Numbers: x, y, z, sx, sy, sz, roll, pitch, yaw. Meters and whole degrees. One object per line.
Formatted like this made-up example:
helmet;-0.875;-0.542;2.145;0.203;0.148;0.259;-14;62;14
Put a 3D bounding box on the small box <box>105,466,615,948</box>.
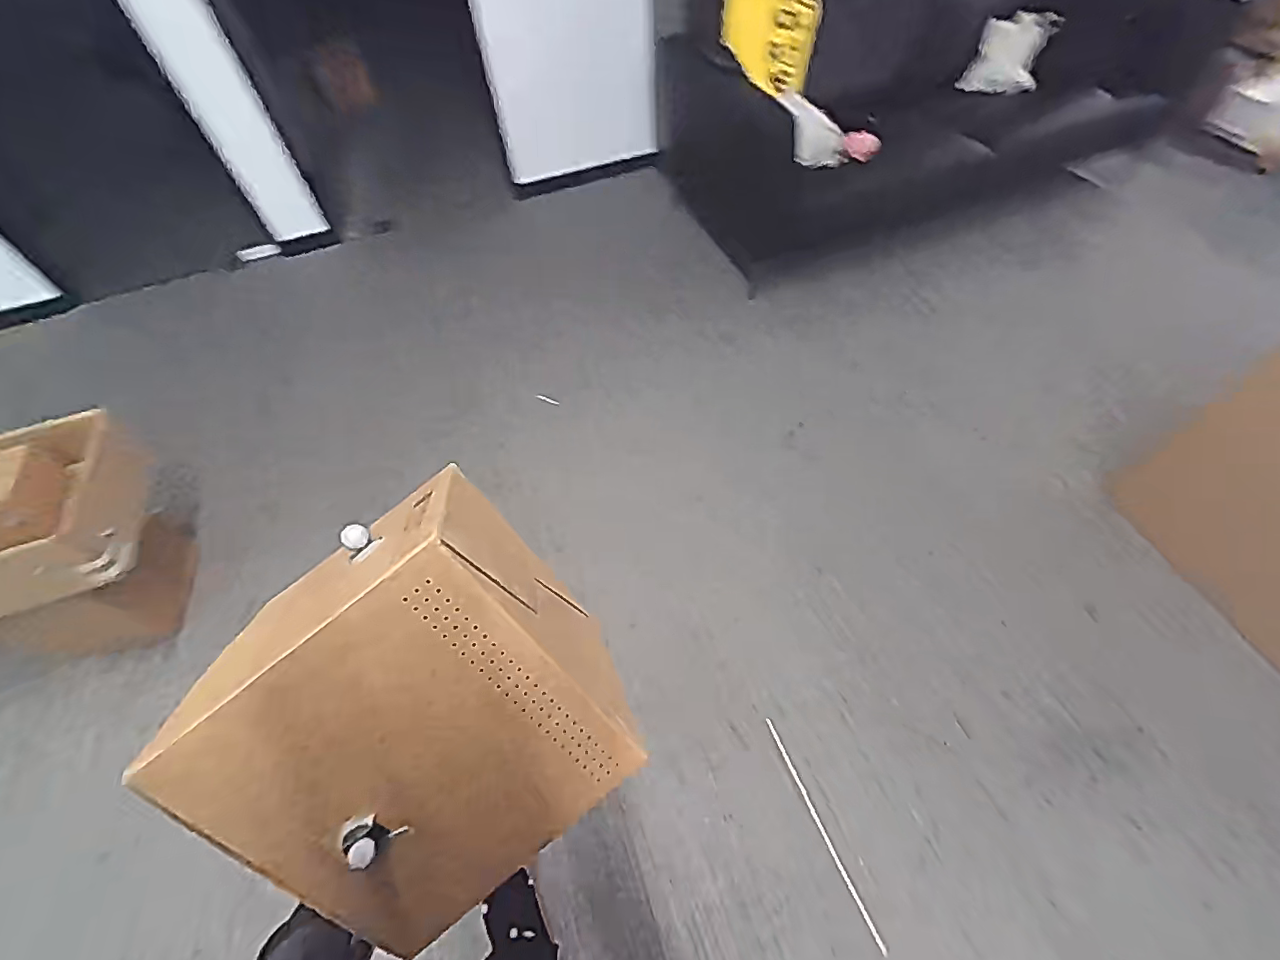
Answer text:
small box;-0.141;0.119;0.339;0.176;0.179;0.168;-39;21;-7
